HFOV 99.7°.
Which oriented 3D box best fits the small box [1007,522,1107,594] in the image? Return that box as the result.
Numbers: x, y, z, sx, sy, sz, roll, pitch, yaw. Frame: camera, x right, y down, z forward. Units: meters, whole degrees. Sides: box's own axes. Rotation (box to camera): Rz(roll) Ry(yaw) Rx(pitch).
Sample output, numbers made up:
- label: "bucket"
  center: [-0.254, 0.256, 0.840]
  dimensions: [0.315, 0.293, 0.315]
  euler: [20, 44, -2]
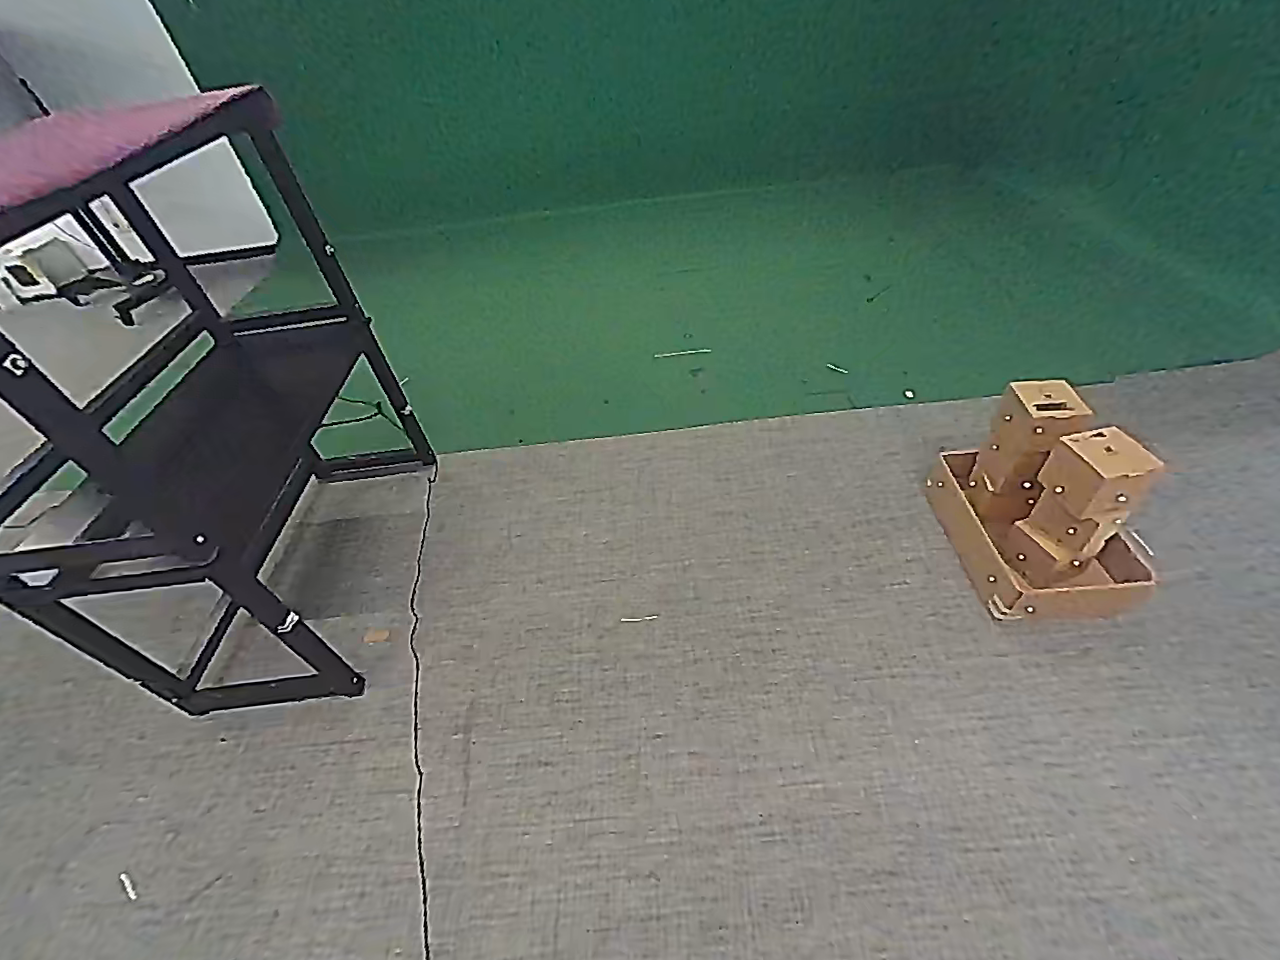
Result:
- label: "small box"
  center: [1.313, 0.236, 1.723]
  dimensions: [0.179, 0.176, 0.168]
  euler: [-16, 44, -8]

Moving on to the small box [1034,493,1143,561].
- label: "small box"
  center: [1.325, 0.110, 1.615]
  dimensions: [0.179, 0.176, 0.168]
  euler: [-24, 45, -15]

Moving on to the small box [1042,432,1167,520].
- label: "small box"
  center: [1.280, -0.005, 1.506]
  dimensions: [0.168, 0.176, 0.179]
  euler: [-11, 44, -1]
